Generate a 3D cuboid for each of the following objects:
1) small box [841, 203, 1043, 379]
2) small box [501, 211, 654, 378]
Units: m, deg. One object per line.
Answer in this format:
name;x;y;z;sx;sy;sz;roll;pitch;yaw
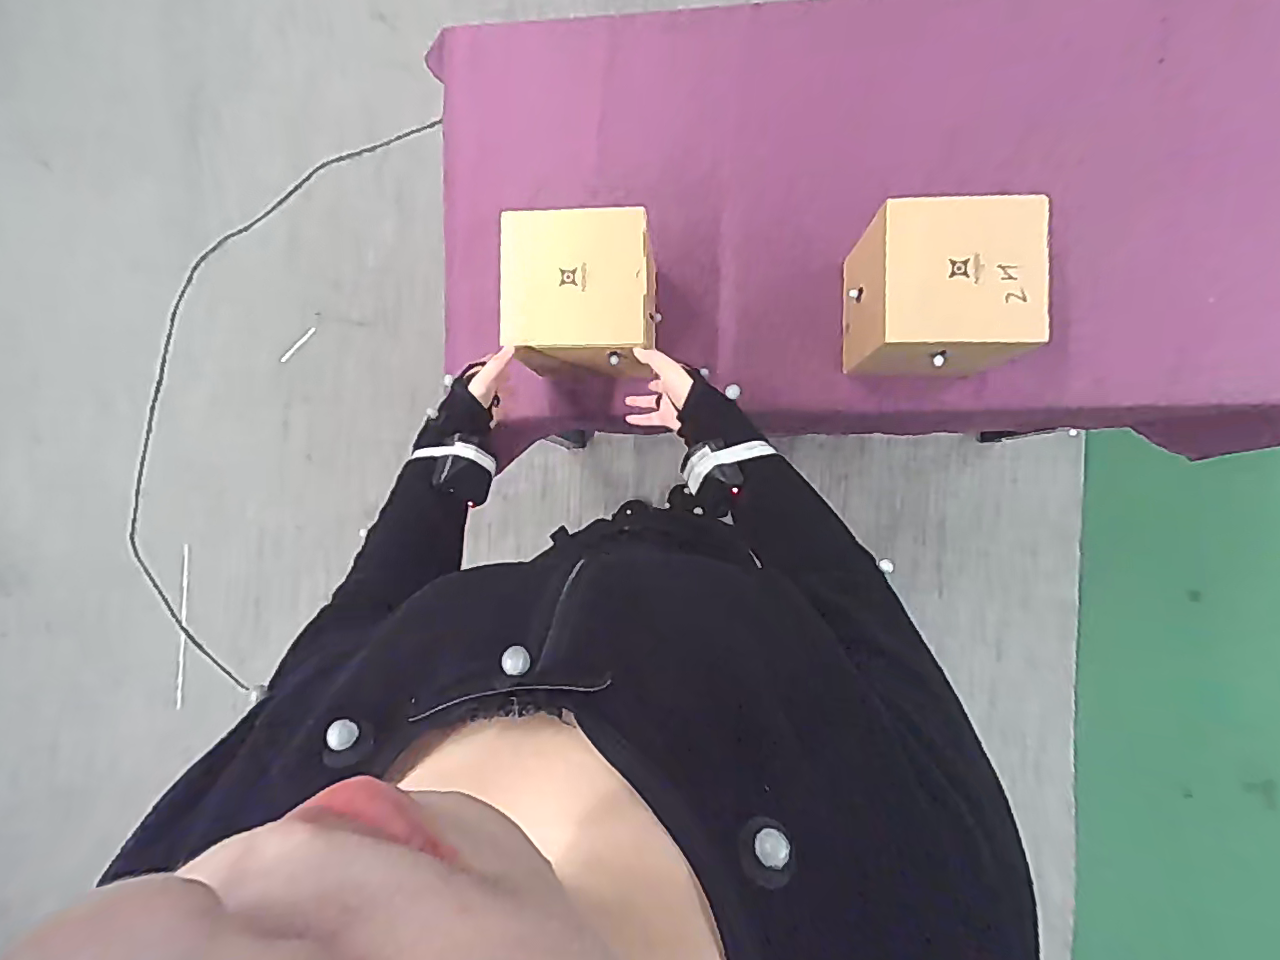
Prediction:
small box;0.366;-0.227;0.686;0.179;0.176;0.168;2;89;4
small box;-0.073;-0.234;0.721;0.179;0.176;0.168;0;88;3
